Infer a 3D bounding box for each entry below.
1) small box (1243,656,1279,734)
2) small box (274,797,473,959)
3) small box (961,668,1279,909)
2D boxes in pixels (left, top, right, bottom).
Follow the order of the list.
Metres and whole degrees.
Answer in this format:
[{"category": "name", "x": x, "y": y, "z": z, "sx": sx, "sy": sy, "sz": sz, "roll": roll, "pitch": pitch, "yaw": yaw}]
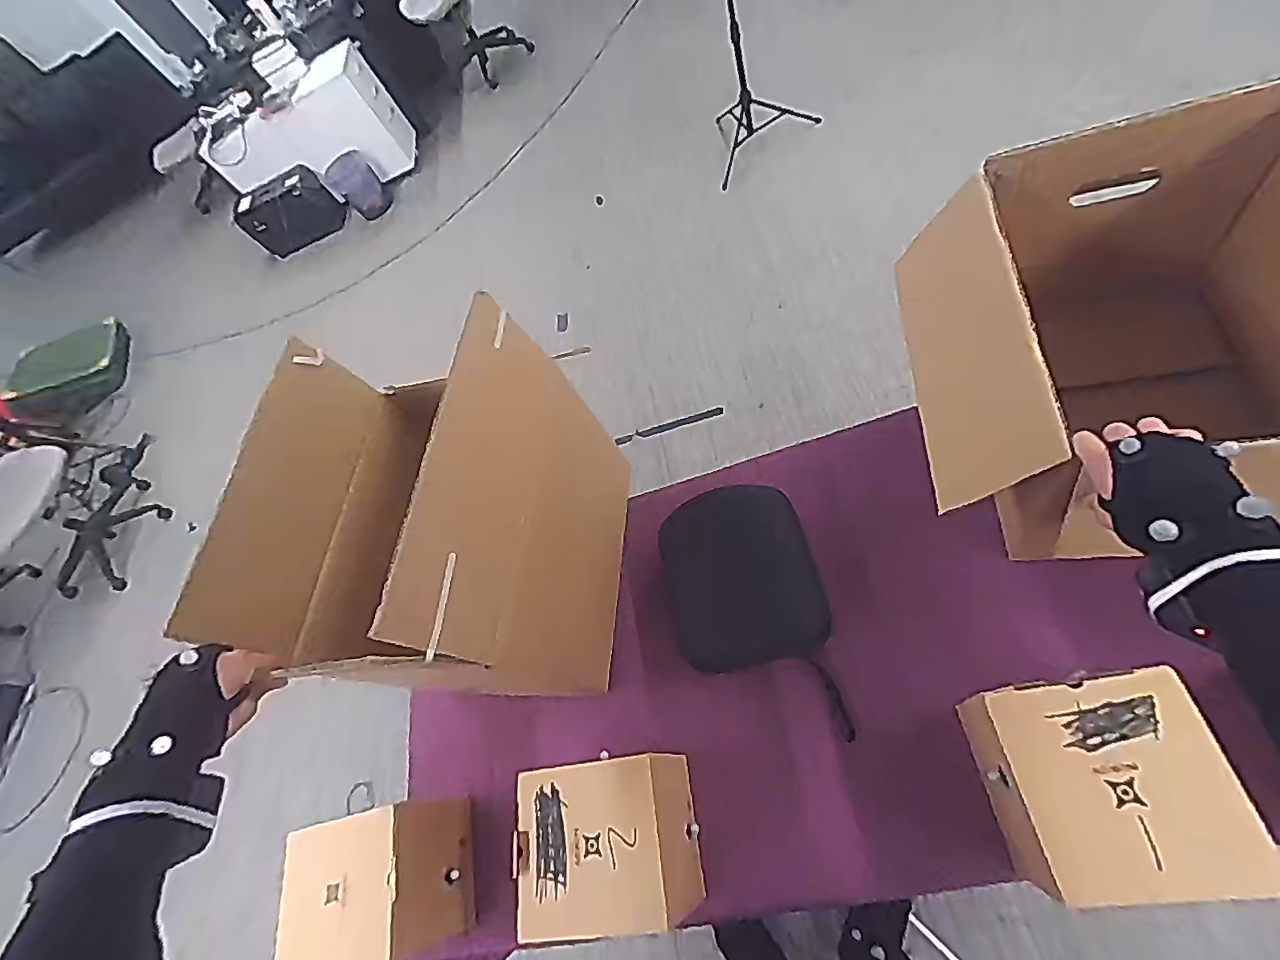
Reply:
[{"category": "small box", "x": 0.716, "y": 0.228, "z": 0.474, "sx": 0.168, "sy": 0.176, "sz": 0.179, "roll": -15, "pitch": 59, "yaw": 15}, {"category": "small box", "x": -0.354, "y": 0.549, "z": 0.745, "sx": 0.179, "sy": 0.176, "sz": 0.168, "roll": -20, "pitch": 58, "yaw": 10}, {"category": "small box", "x": 0.451, "y": 0.304, "z": 0.545, "sx": 0.168, "sy": 0.176, "sz": 0.179, "roll": -15, "pitch": 60, "yaw": 14}]
